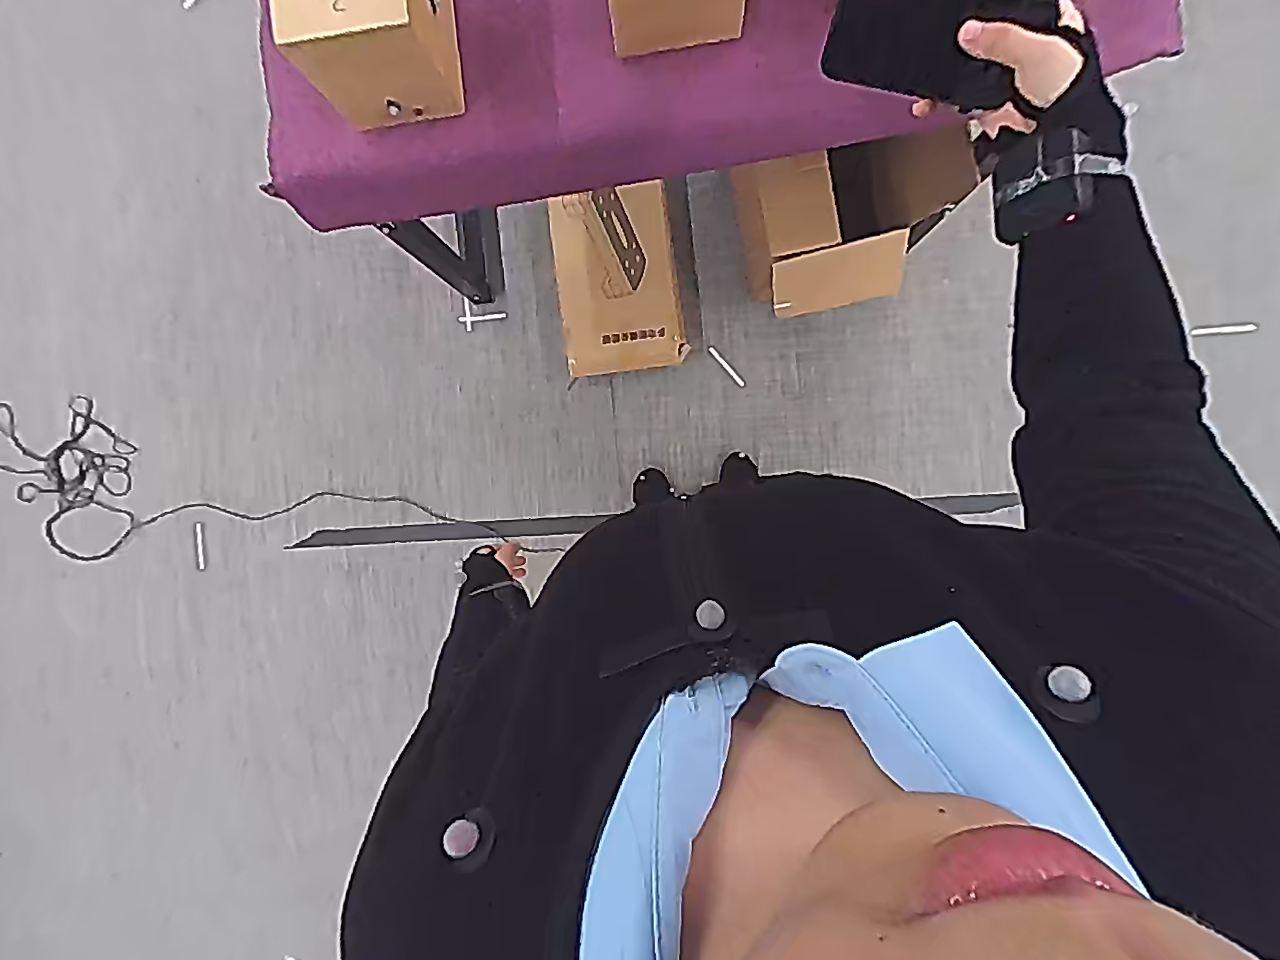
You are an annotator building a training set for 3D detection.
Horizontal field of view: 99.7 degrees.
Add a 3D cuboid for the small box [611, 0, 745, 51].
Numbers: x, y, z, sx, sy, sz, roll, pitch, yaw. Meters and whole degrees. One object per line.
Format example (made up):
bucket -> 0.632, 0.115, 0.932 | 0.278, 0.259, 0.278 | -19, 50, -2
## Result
small box -> 0.043, -0.680, 0.664 | 0.179, 0.176, 0.168 | -7, 89, 4
